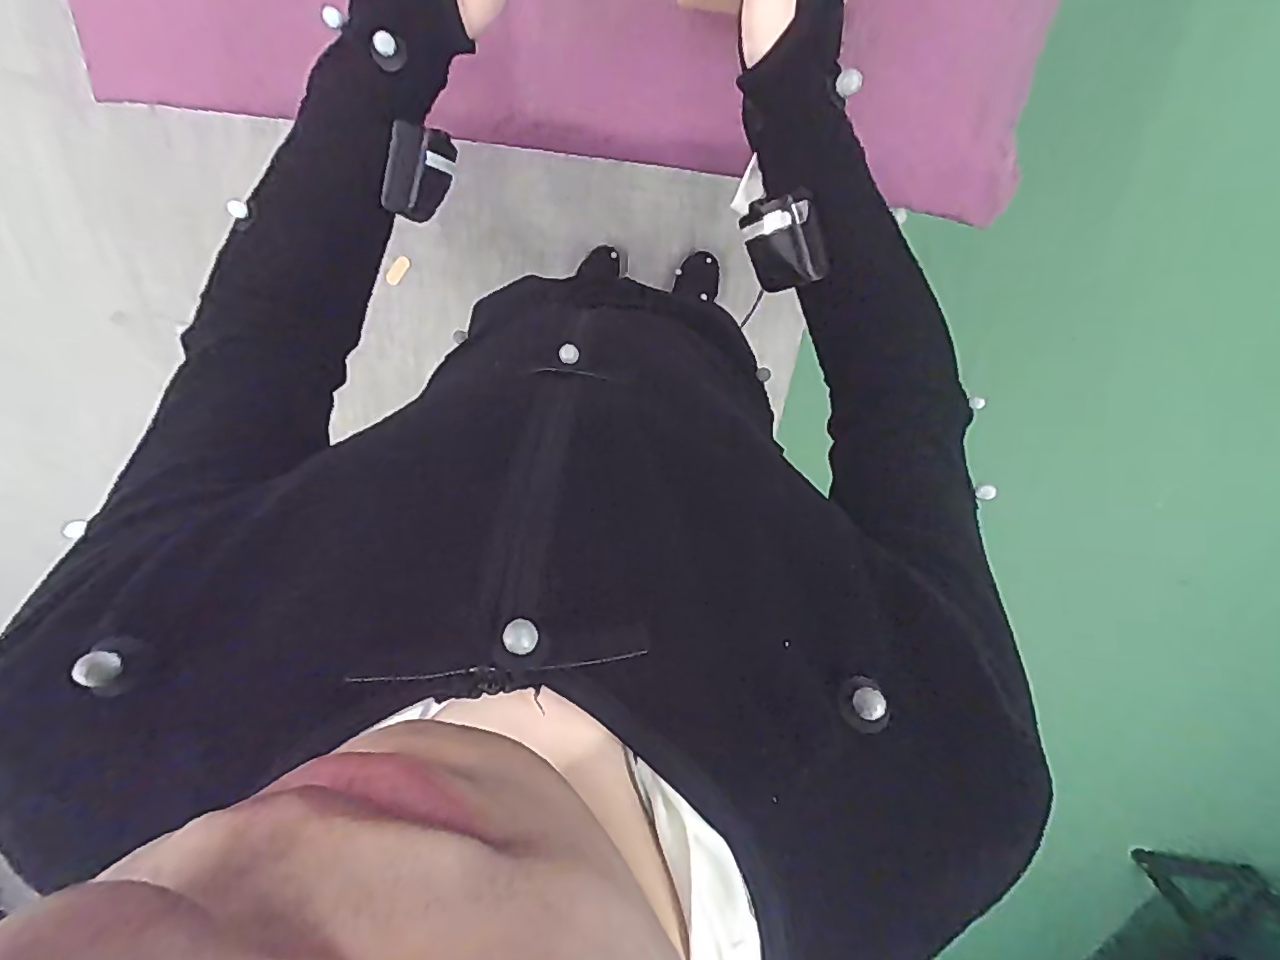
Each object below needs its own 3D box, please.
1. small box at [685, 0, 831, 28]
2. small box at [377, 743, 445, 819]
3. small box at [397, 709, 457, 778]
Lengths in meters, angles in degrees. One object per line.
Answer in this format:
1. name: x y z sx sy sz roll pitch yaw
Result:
1. small box: 0.144 -0.612 0.565 0.179 0.176 0.168 8 114 -3
2. small box: -0.812 1.069 1.929 0.179 0.176 0.168 7 113 -4
3. small box: -0.812 1.010 2.079 0.179 0.176 0.168 8 113 -3
